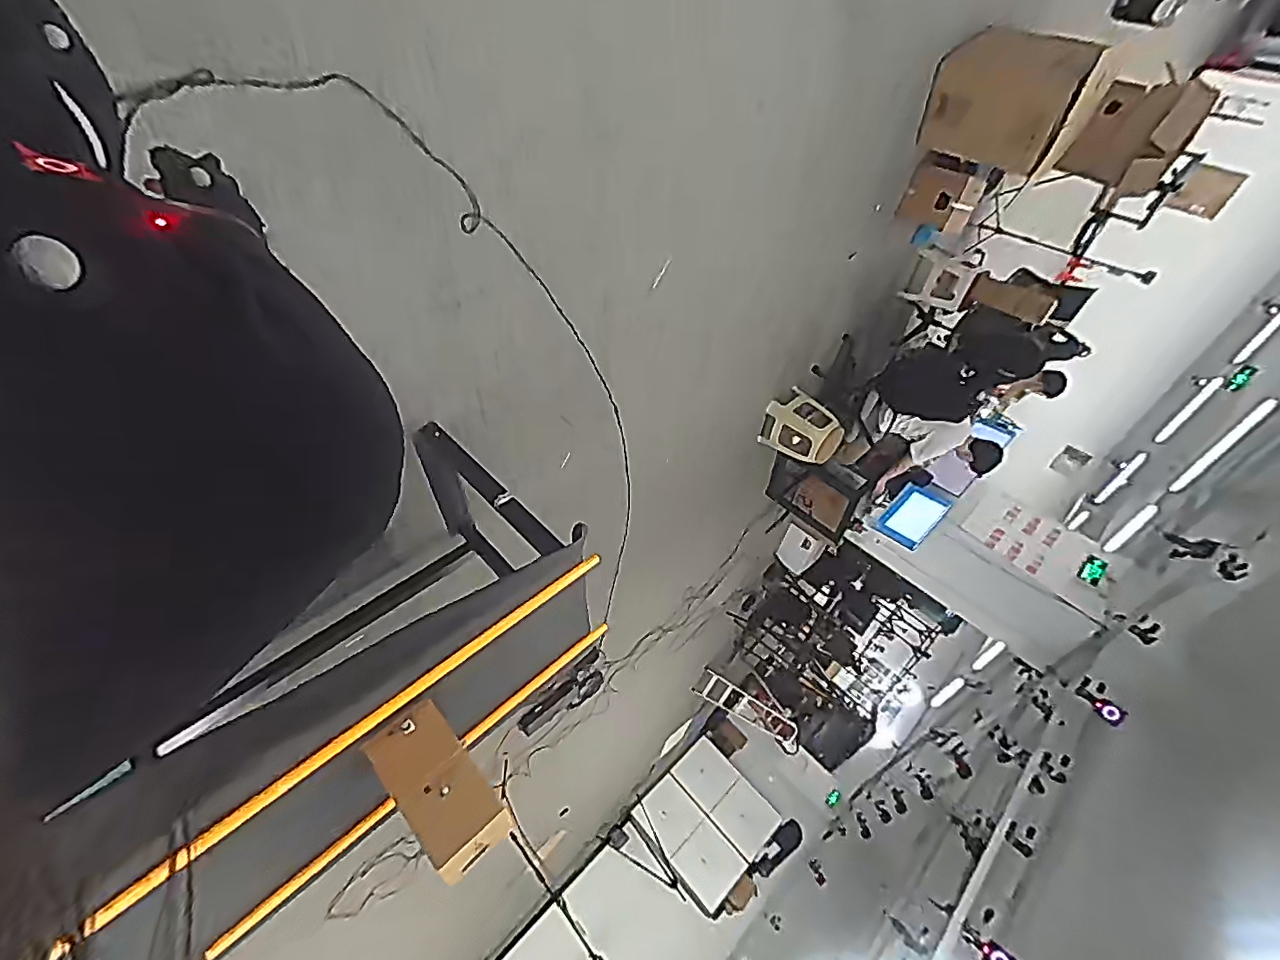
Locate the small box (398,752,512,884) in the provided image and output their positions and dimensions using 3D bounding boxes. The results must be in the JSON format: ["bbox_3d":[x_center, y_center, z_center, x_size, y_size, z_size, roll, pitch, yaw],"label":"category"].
[{"bbox_3d":[-0.408,0.746,1.203,0.168,0.176,0.179,-34,147,-33],"label":"small box"}]

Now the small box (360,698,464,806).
[{"bbox_3d":[-0.522,0.652,1.277,0.168,0.176,0.179,-36,147,-29],"label":"small box"}]
